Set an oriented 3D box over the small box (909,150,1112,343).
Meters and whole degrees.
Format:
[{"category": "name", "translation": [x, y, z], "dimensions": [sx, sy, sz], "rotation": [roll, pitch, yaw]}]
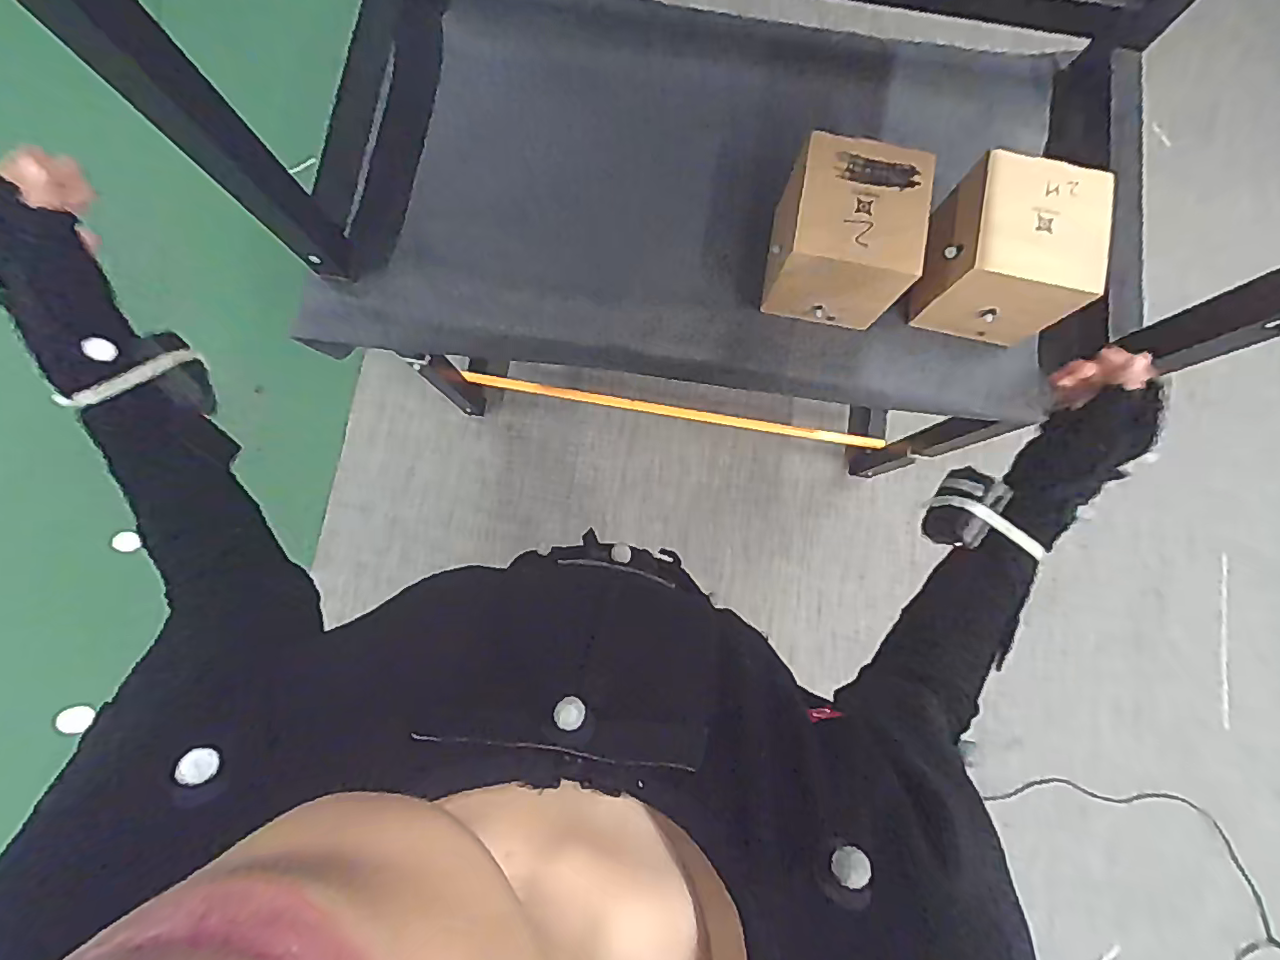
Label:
[{"category": "small box", "translation": [0.508, -0.316, 0.765], "dimensions": [0.168, 0.176, 0.179], "rotation": [13, 81, 0]}]
